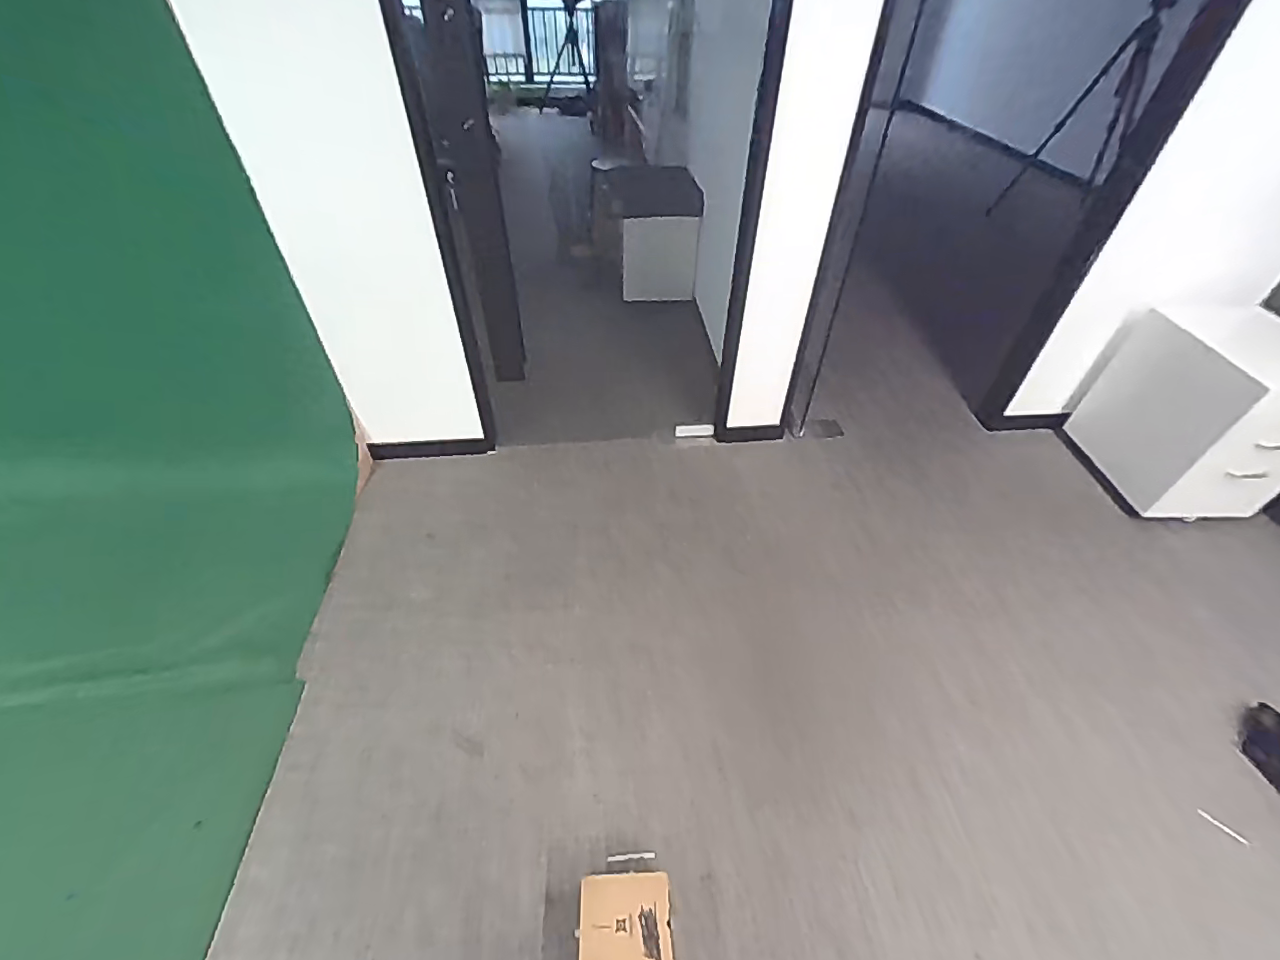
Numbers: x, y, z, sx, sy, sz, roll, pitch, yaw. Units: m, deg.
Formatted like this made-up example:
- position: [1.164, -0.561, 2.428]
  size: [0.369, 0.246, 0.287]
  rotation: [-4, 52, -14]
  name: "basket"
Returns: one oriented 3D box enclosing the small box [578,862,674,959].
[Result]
- position: [-0.029, 0.887, 1.089]
  size: [0.179, 0.176, 0.168]
  rotation: [-2, 44, -2]
  name: "small box"
